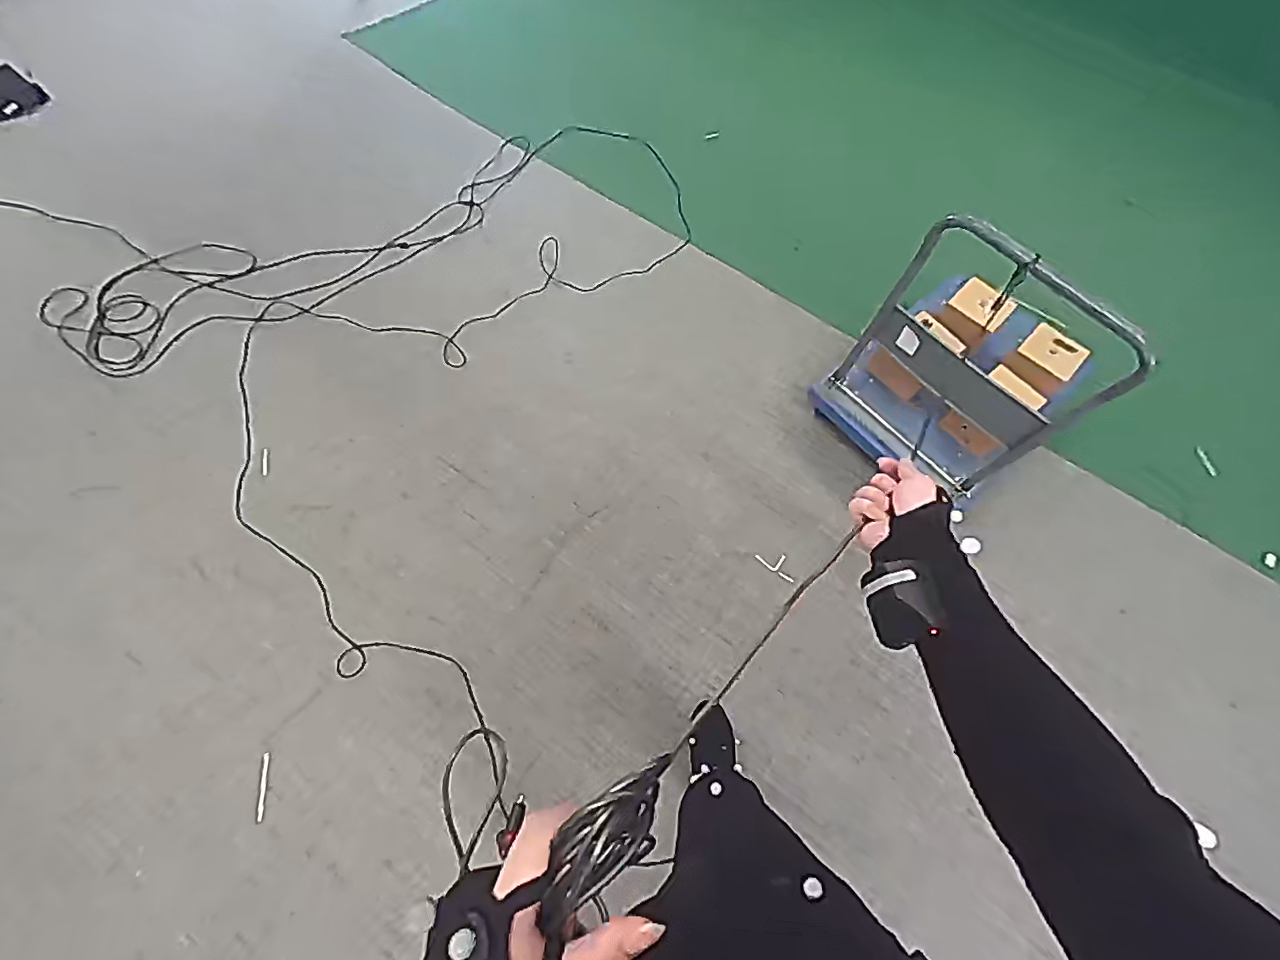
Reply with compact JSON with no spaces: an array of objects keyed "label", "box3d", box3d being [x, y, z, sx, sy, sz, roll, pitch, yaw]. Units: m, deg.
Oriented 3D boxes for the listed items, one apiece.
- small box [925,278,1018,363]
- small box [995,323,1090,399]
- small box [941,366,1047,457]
[{"label":"small box","box3d":[1.083,-0.522,1.786,0.179,0.176,0.168,-40,74,-21]},{"label":"small box","box3d":[1.260,-0.355,1.719,0.179,0.176,0.168,-41,73,-21]},{"label":"small box","box3d":[1.056,-0.203,1.627,0.179,0.176,0.168,-36,72,-19]}]
